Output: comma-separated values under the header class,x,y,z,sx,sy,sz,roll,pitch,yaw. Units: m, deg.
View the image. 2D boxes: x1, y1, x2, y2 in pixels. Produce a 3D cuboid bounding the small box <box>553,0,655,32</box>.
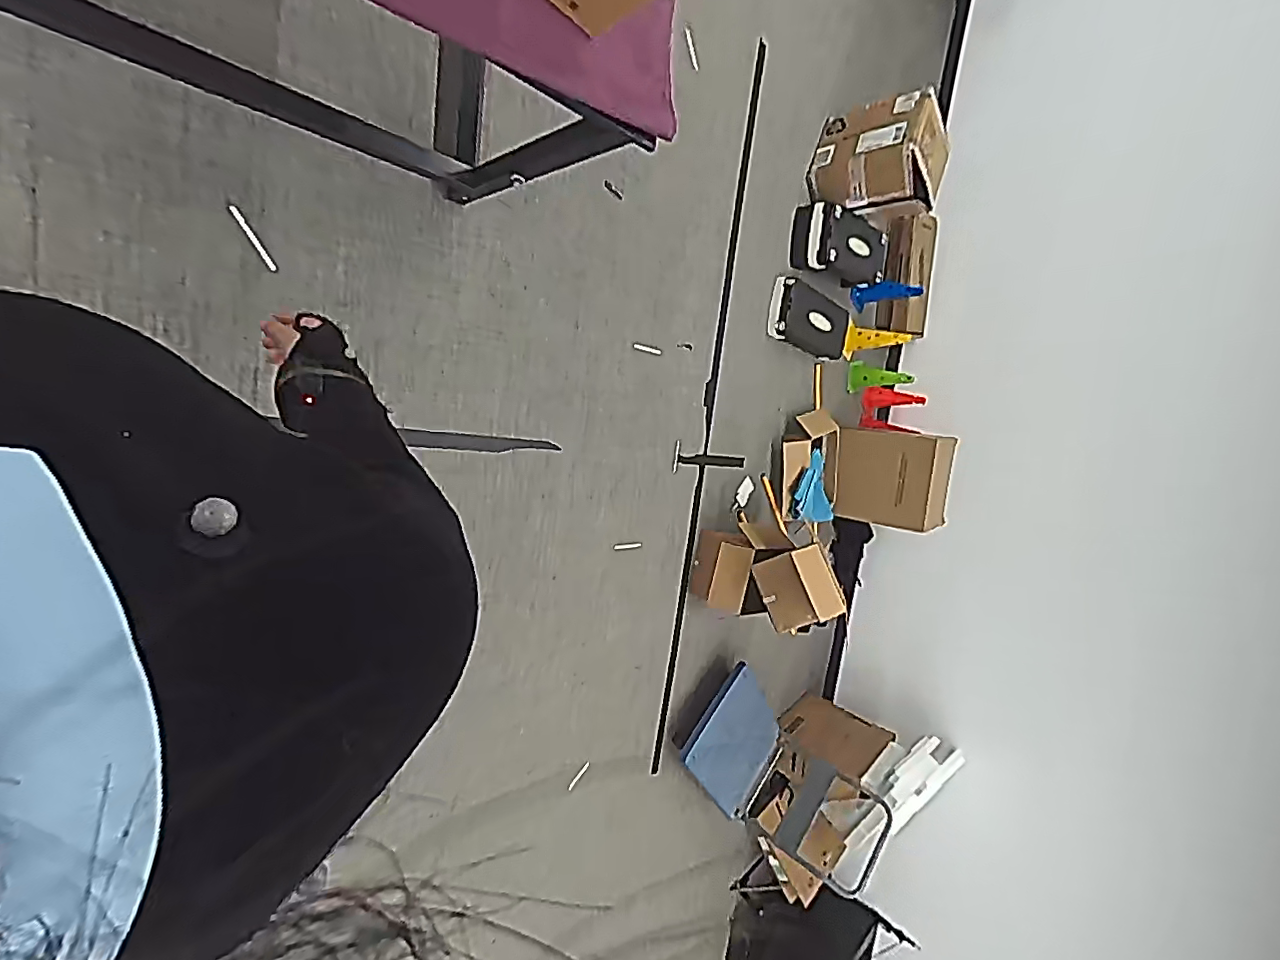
class,x,y,z,sx,sy,sz,roll,pitch,yaw
small box,-0.057,-0.788,0.749,0.168,0.176,0.179,6,95,-46
